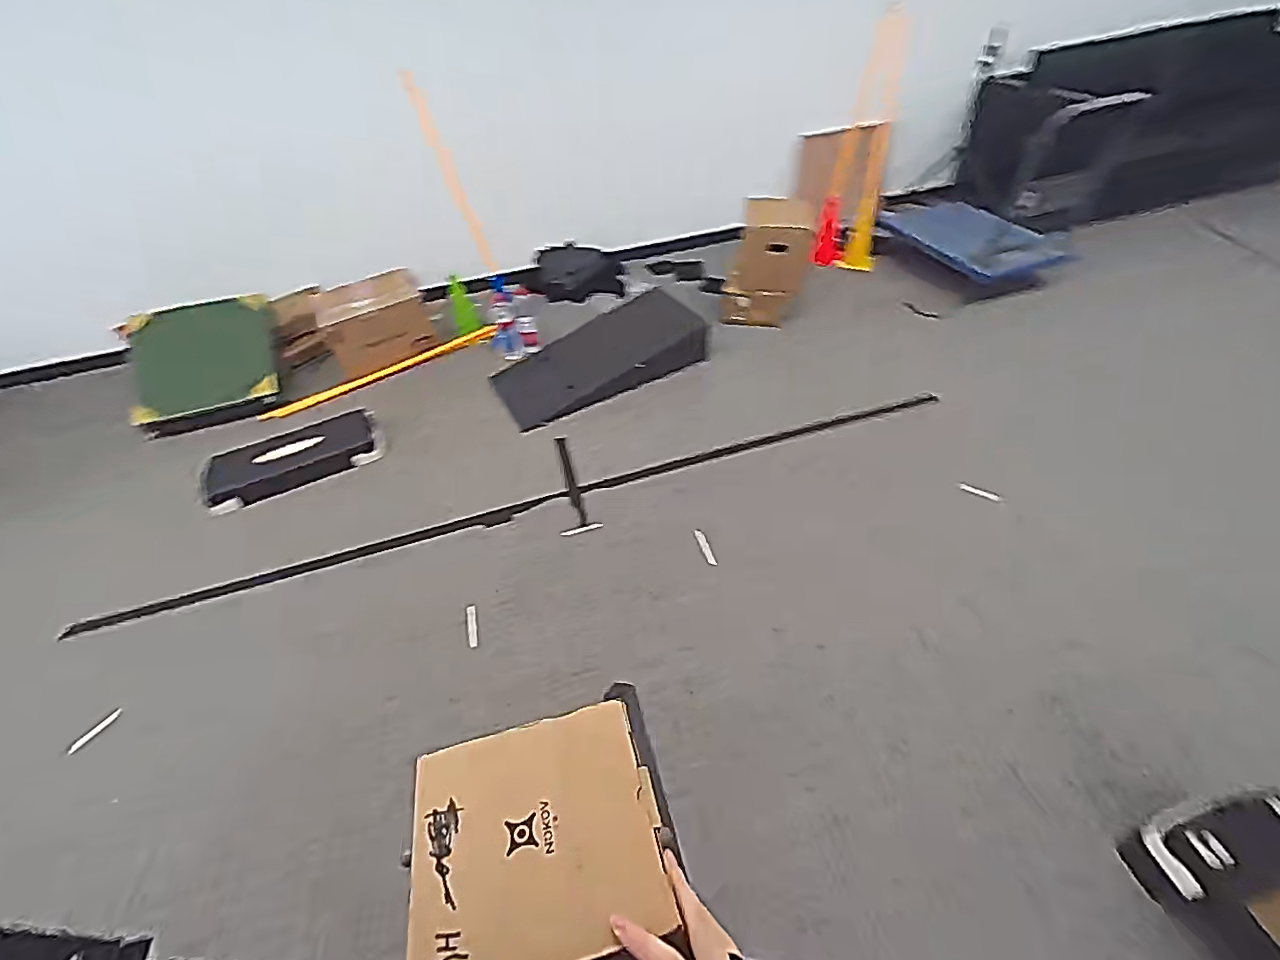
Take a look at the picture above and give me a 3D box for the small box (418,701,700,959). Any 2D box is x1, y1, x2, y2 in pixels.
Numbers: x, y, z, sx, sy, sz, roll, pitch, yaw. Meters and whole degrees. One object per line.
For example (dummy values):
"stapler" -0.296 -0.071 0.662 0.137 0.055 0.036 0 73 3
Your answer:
"small box" -0.061 0.313 0.433 0.179 0.176 0.168 -10 37 -9
